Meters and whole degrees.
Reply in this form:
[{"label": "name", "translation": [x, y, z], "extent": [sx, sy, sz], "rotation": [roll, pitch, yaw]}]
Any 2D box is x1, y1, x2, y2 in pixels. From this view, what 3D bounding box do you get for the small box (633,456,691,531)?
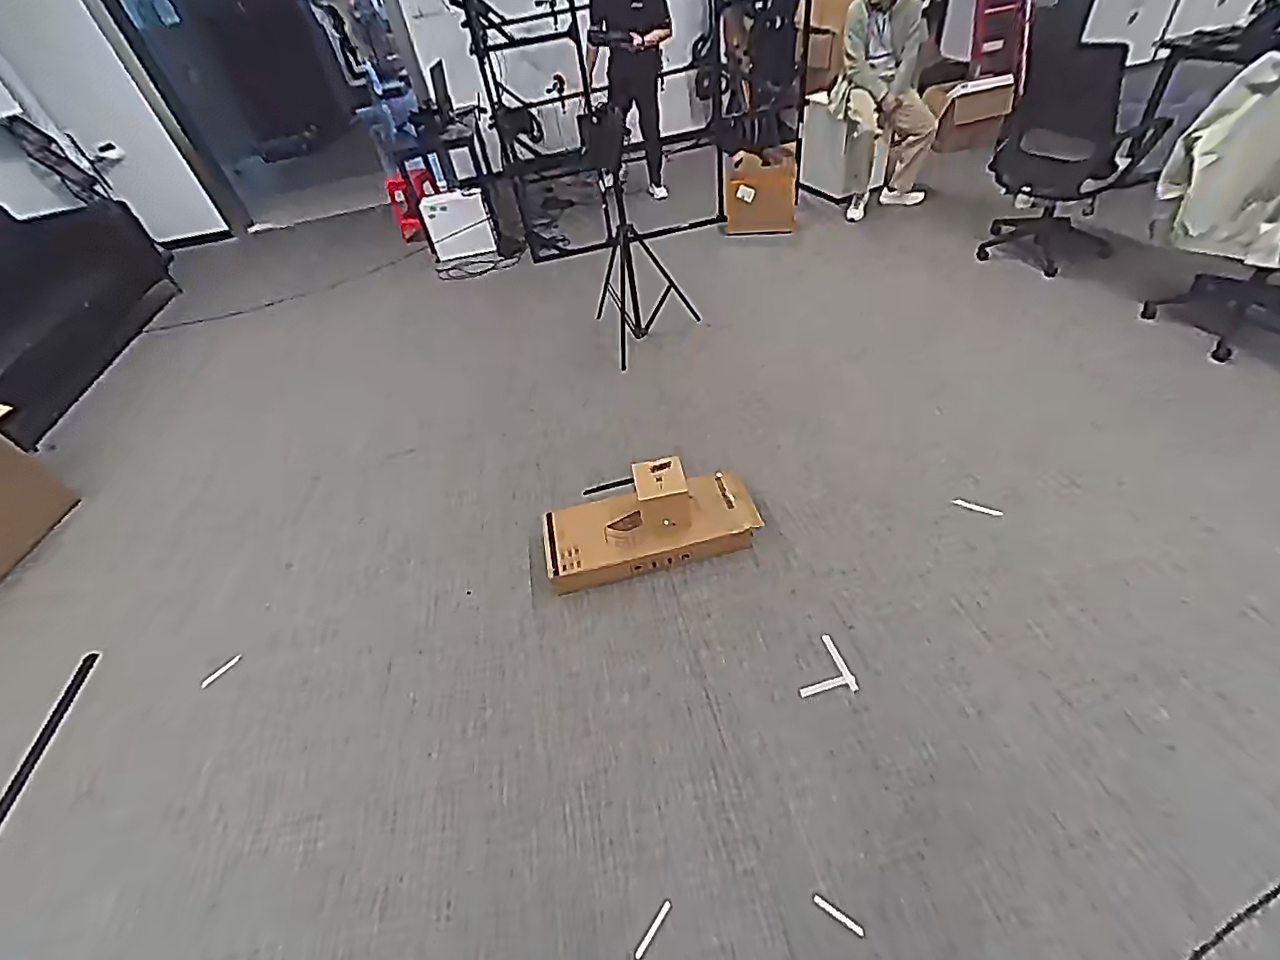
[{"label": "small box", "translation": [0.075, 0.048, 1.849], "extent": [0.168, 0.176, 0.179], "rotation": [-12, 44, 0]}]
